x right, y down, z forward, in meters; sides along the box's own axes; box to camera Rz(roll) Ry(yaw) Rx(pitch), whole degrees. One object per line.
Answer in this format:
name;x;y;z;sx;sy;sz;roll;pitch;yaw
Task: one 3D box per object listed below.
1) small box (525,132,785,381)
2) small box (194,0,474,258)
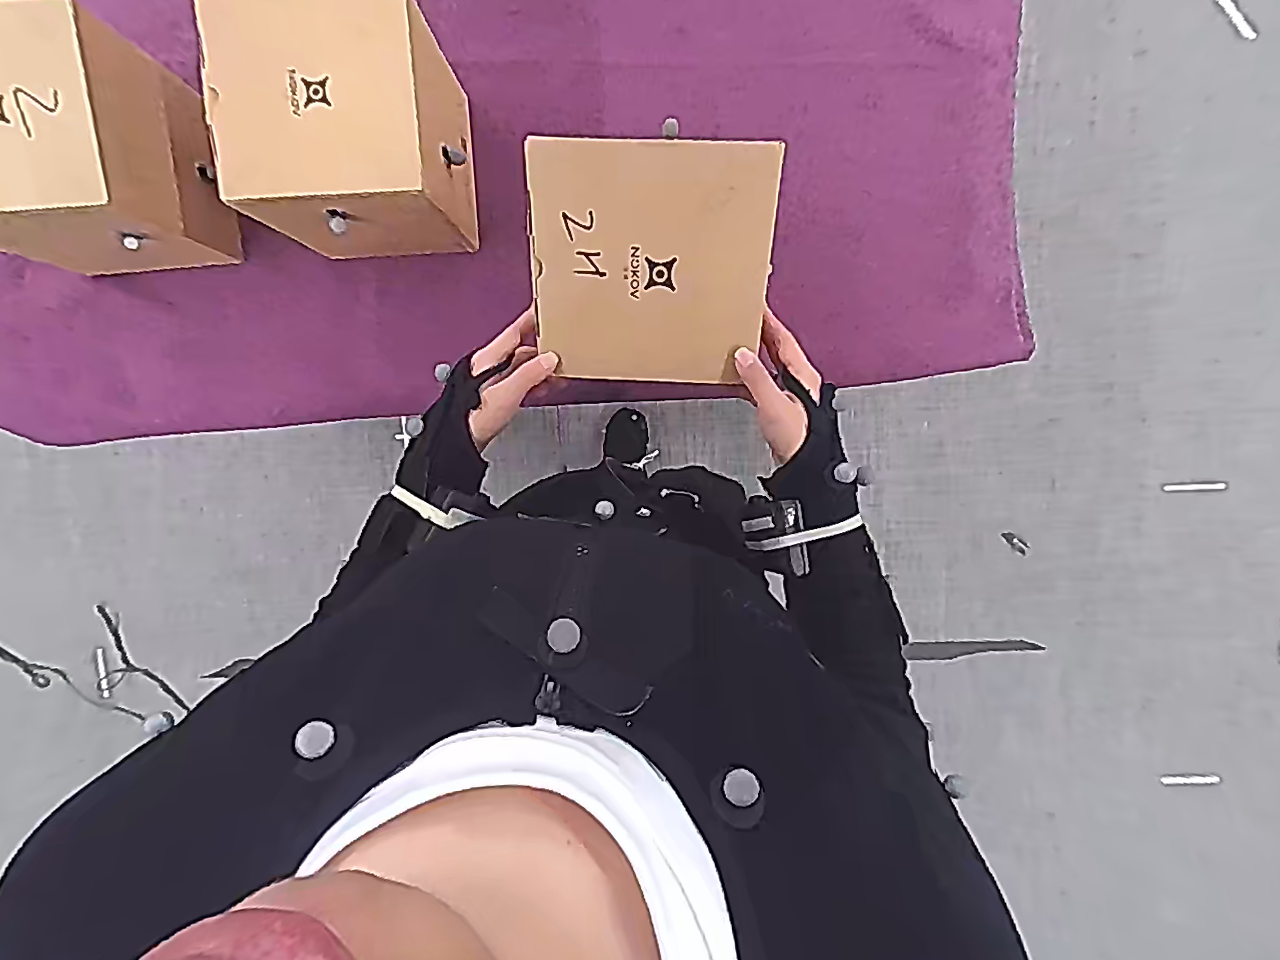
small box;0.011;-0.192;0.463;0.179;0.176;0.168;3;118;3
small box;-0.269;-0.325;0.523;0.179;0.176;0.168;-2;96;1
